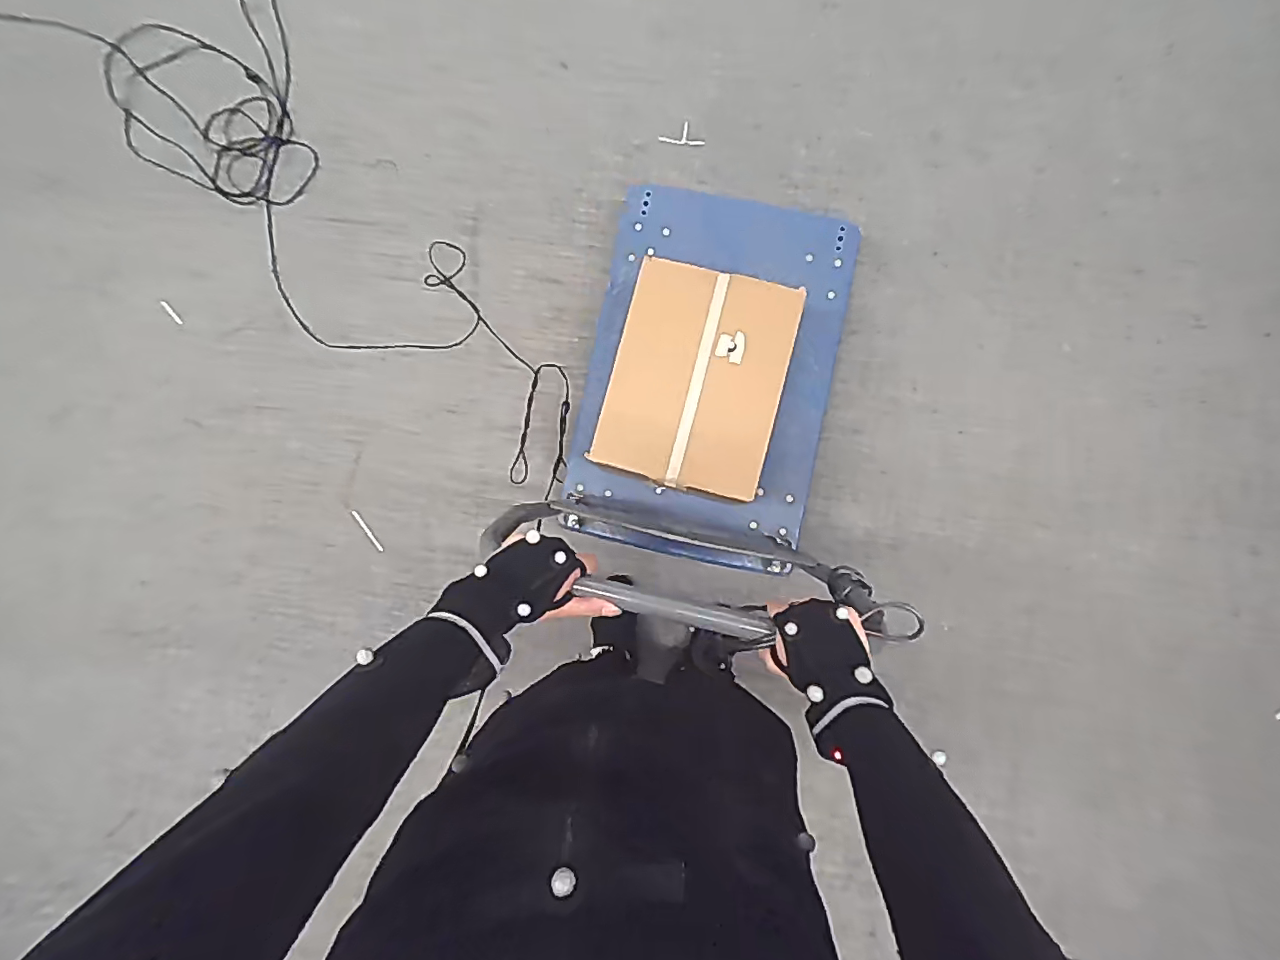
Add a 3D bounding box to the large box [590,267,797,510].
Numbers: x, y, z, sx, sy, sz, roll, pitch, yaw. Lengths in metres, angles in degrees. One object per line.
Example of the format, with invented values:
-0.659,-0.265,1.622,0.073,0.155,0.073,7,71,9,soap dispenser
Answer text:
0.109,-0.166,1.151,0.320,0.320,0.408,15,86,4,large box
